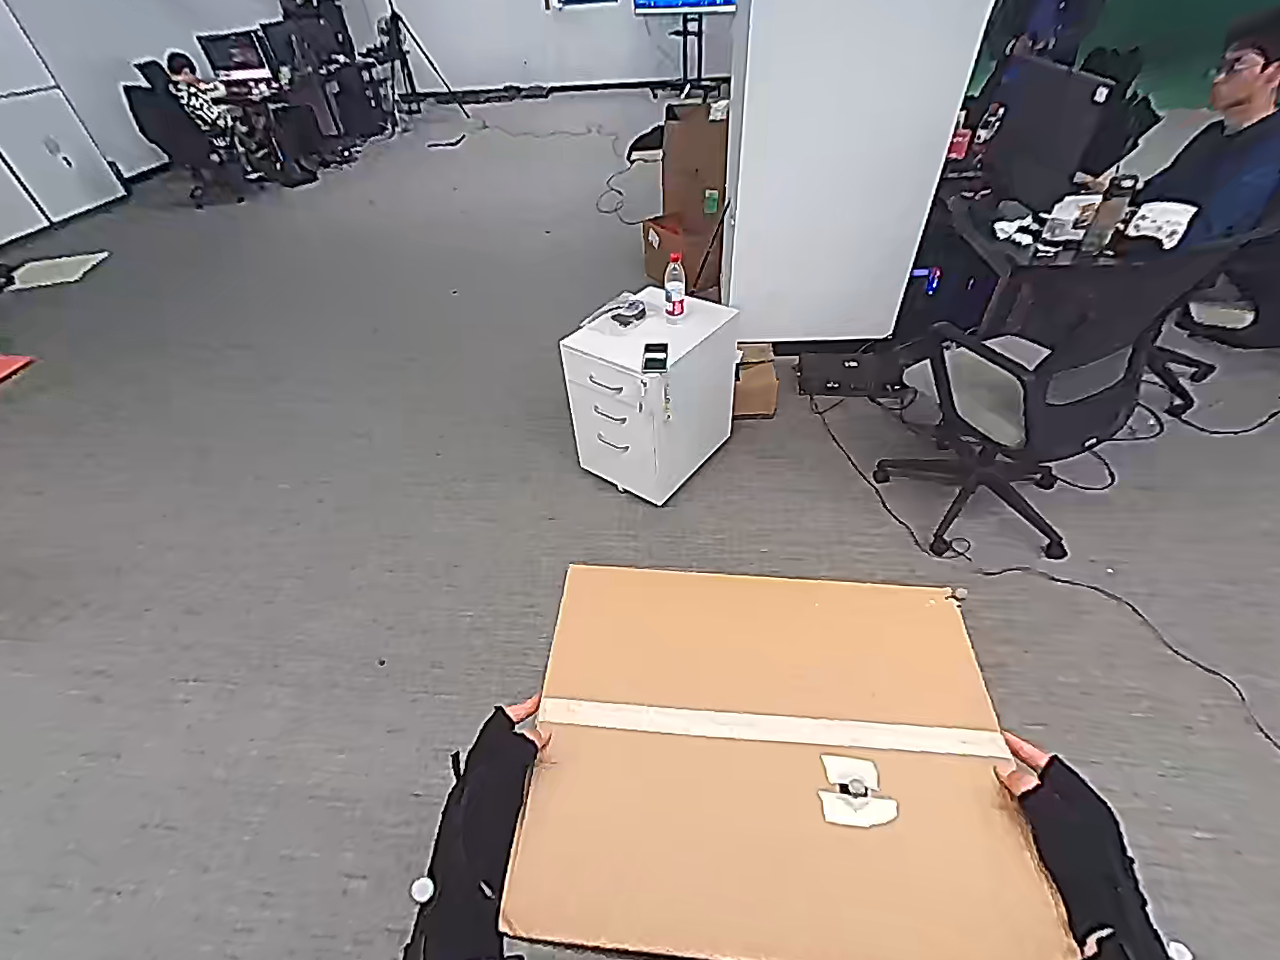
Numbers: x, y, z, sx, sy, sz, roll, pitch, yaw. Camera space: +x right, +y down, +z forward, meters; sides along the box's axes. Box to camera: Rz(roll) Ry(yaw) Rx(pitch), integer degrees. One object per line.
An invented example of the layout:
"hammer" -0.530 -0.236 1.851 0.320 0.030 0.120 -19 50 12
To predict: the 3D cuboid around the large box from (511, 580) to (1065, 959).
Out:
"large box" 0.112 0.331 0.590 0.408 0.320 0.320 3 49 4
